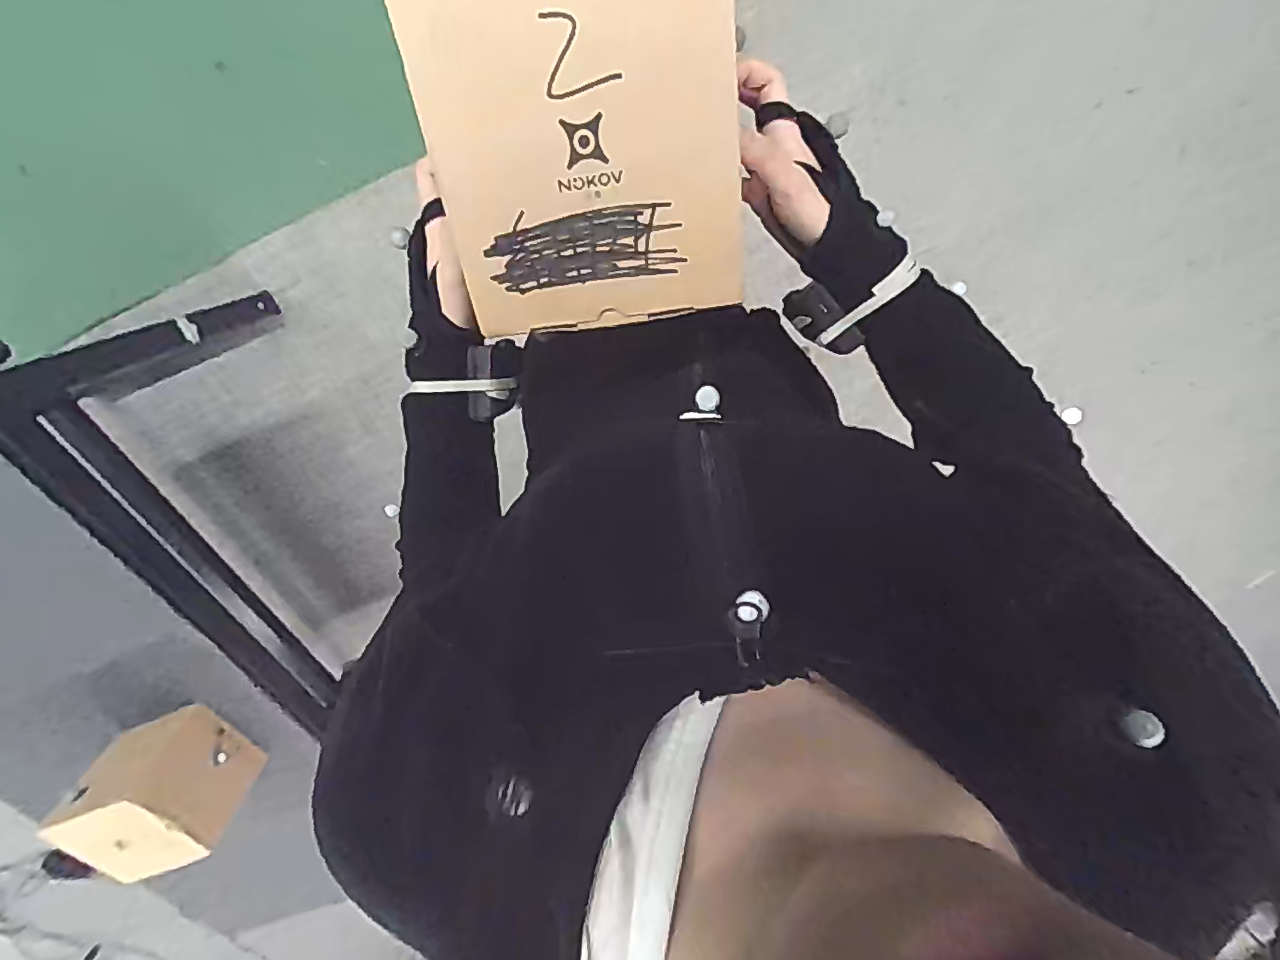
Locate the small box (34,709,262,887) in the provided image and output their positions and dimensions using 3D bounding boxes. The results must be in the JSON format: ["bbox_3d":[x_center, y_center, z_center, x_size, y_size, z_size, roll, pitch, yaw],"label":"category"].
[{"bbox_3d":[-0.776,0.510,0.878,0.179,0.176,0.168,-22,118,7],"label":"small box"}]
